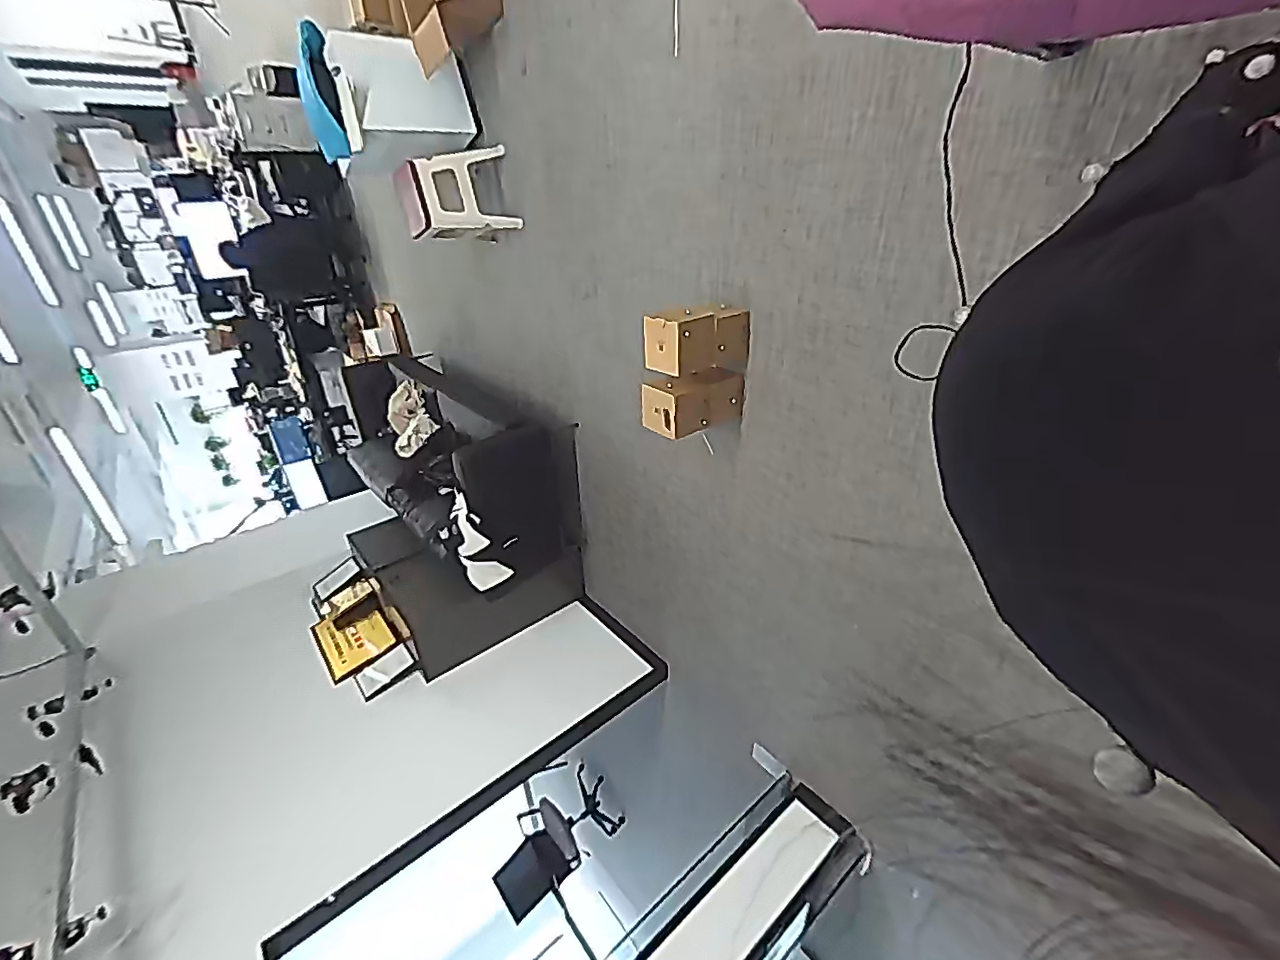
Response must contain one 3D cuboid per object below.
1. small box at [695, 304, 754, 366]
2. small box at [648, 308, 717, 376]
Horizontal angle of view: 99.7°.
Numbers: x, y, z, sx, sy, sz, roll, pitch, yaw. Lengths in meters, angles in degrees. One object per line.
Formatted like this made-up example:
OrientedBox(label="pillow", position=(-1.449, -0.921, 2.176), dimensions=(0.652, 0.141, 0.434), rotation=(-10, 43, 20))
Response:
OrientedBox(label="small box", position=(0.272, -0.512, 1.889), dimensions=(0.179, 0.176, 0.168), rotation=(28, 132, 44))
OrientedBox(label="small box", position=(0.144, -0.463, 1.799), dimensions=(0.168, 0.176, 0.179), rotation=(26, 129, 44))
